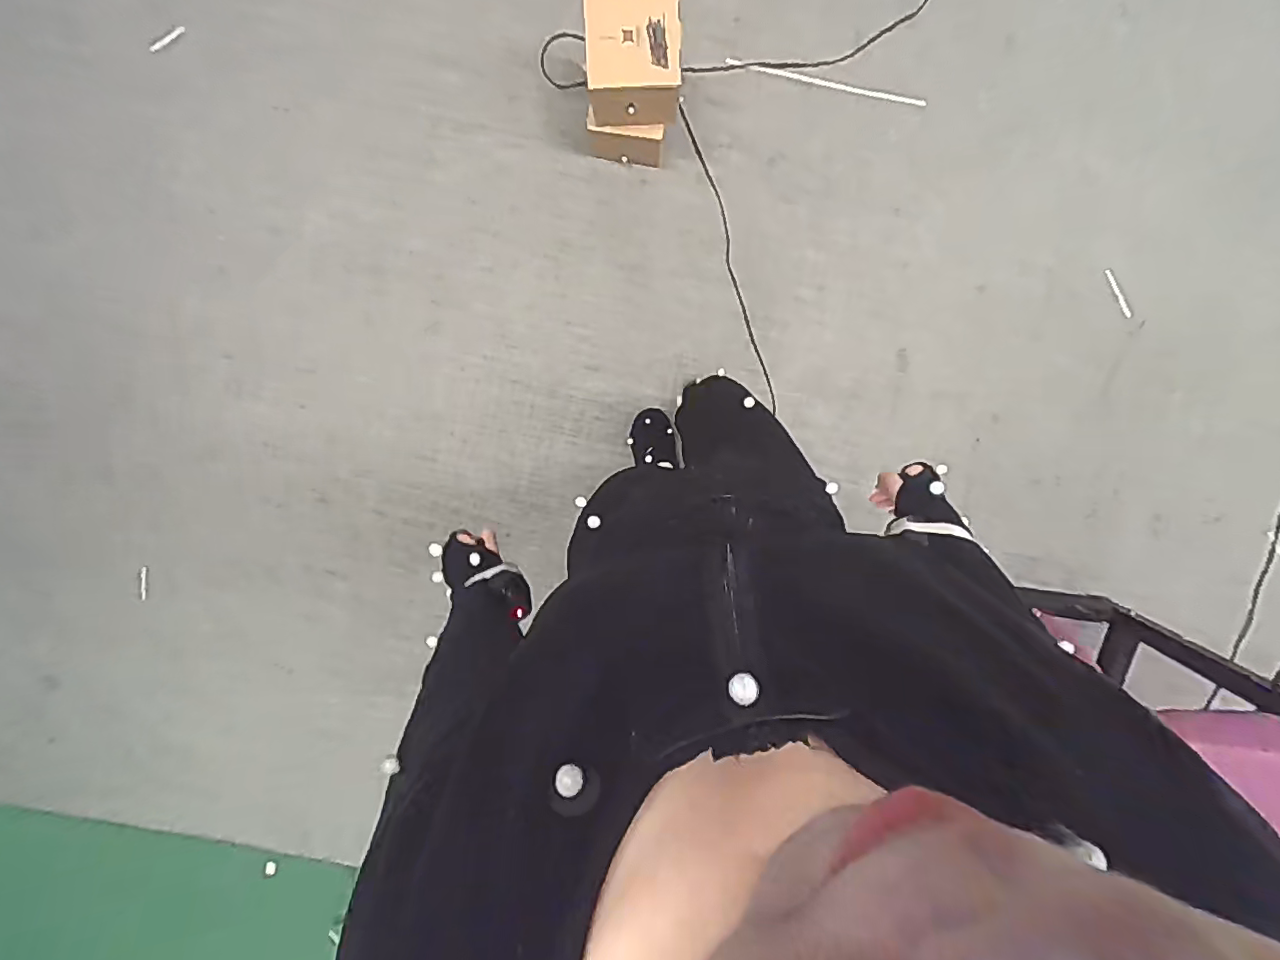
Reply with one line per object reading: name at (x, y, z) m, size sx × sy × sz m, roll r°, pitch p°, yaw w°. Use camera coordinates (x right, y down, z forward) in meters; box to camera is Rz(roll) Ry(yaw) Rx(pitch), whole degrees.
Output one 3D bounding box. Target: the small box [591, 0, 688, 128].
small box at (0.002, -0.824, 1.072) m, size 0.179 × 0.176 × 0.168 m, roll -1°, pitch 102°, yaw 4°
